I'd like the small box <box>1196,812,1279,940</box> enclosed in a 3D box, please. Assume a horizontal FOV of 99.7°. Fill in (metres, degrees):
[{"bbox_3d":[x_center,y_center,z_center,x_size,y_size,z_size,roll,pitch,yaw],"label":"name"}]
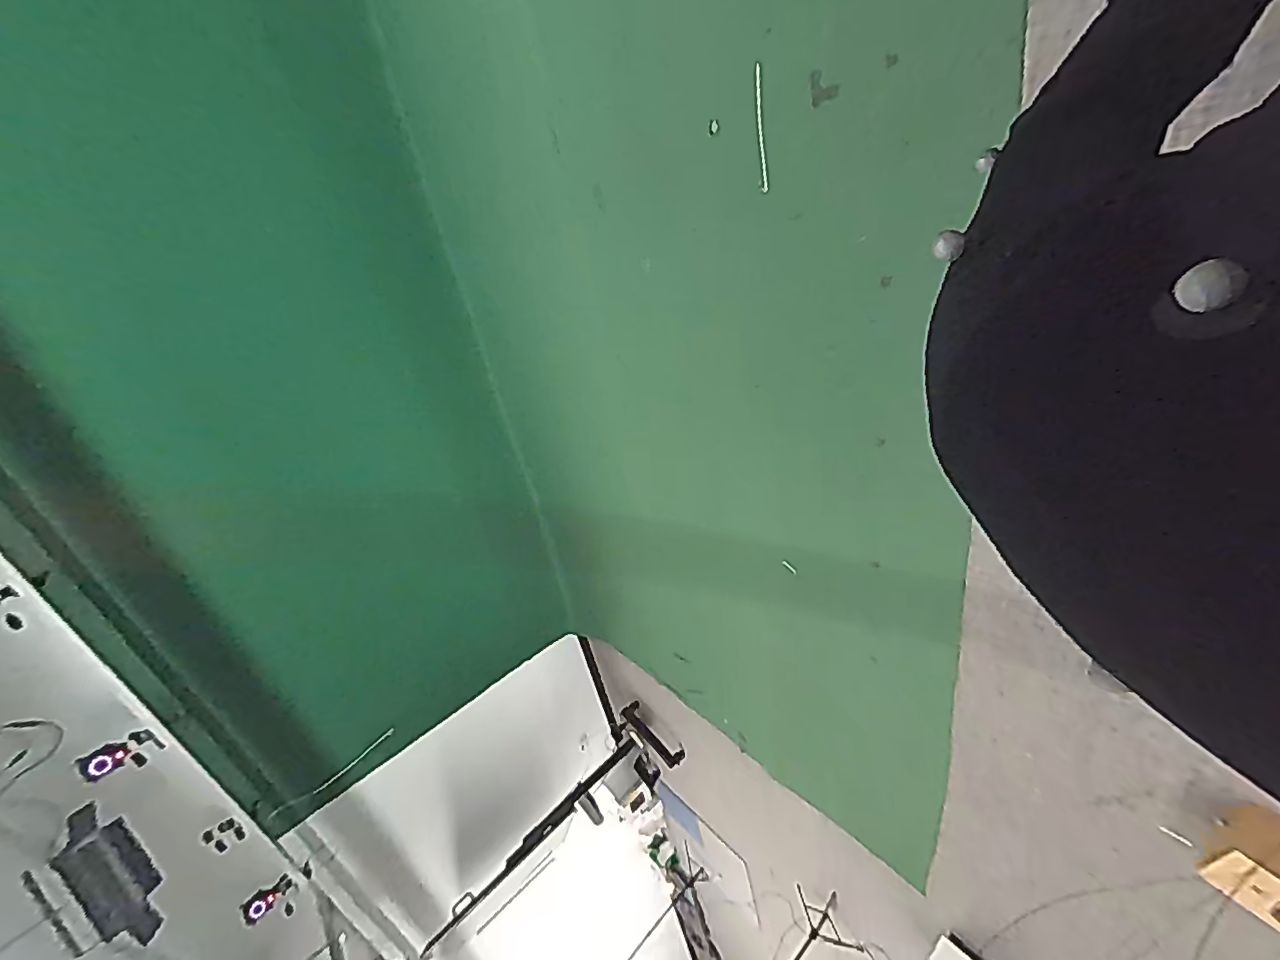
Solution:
[{"bbox_3d":[1.545,0.971,1.329,0.179,0.176,0.168,36,141,37],"label":"small box"}]
